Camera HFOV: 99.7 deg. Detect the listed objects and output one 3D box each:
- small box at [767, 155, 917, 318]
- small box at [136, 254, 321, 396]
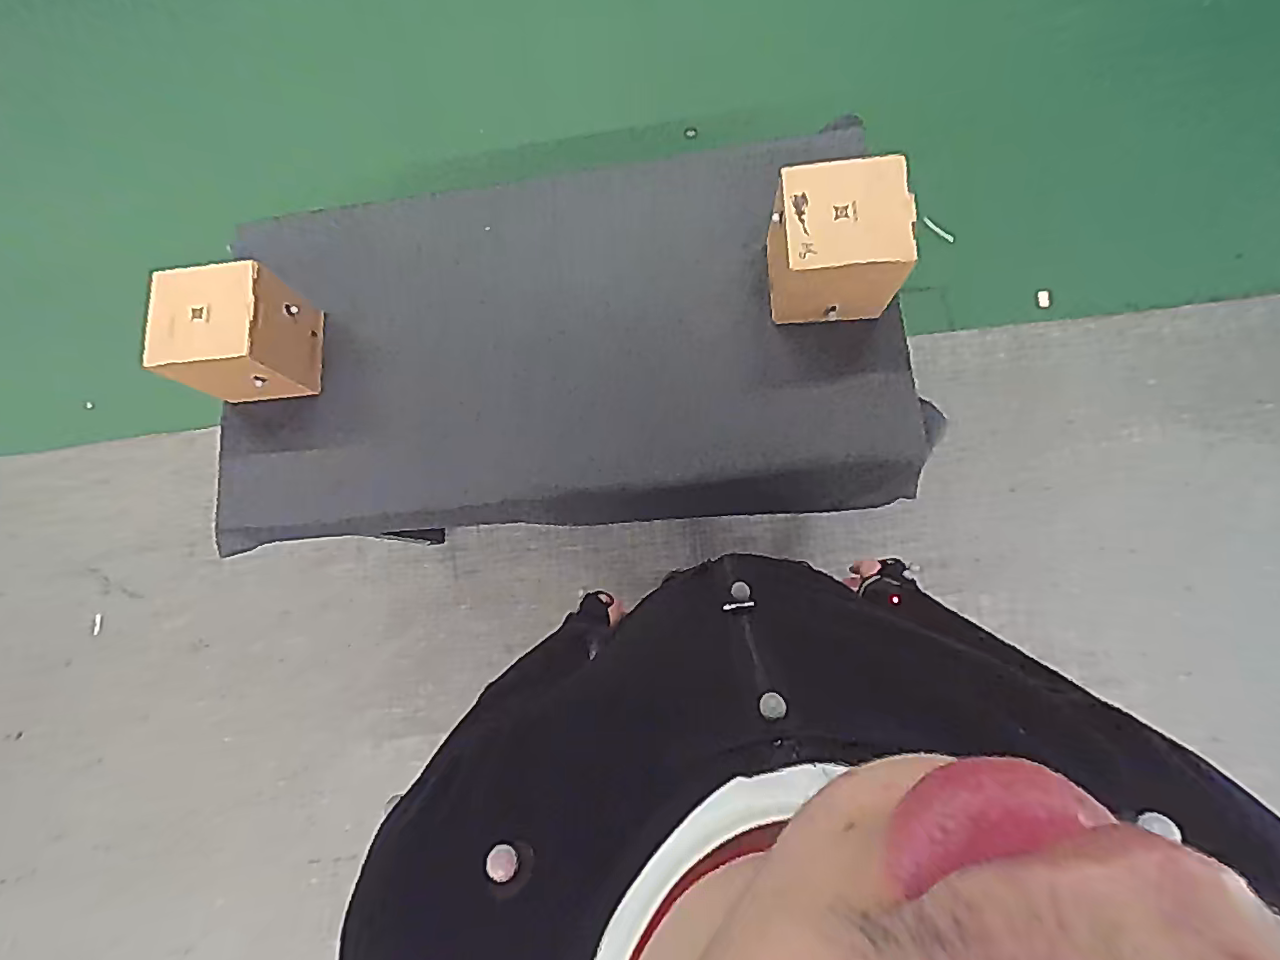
[{"bbox_3d":[0.302,-0.368,0.844,0.179,0.176,0.168,-2,80,5],"label":"small box"},{"bbox_3d":[-0.669,-0.249,0.902,0.179,0.176,0.168,-3,77,5],"label":"small box"}]
